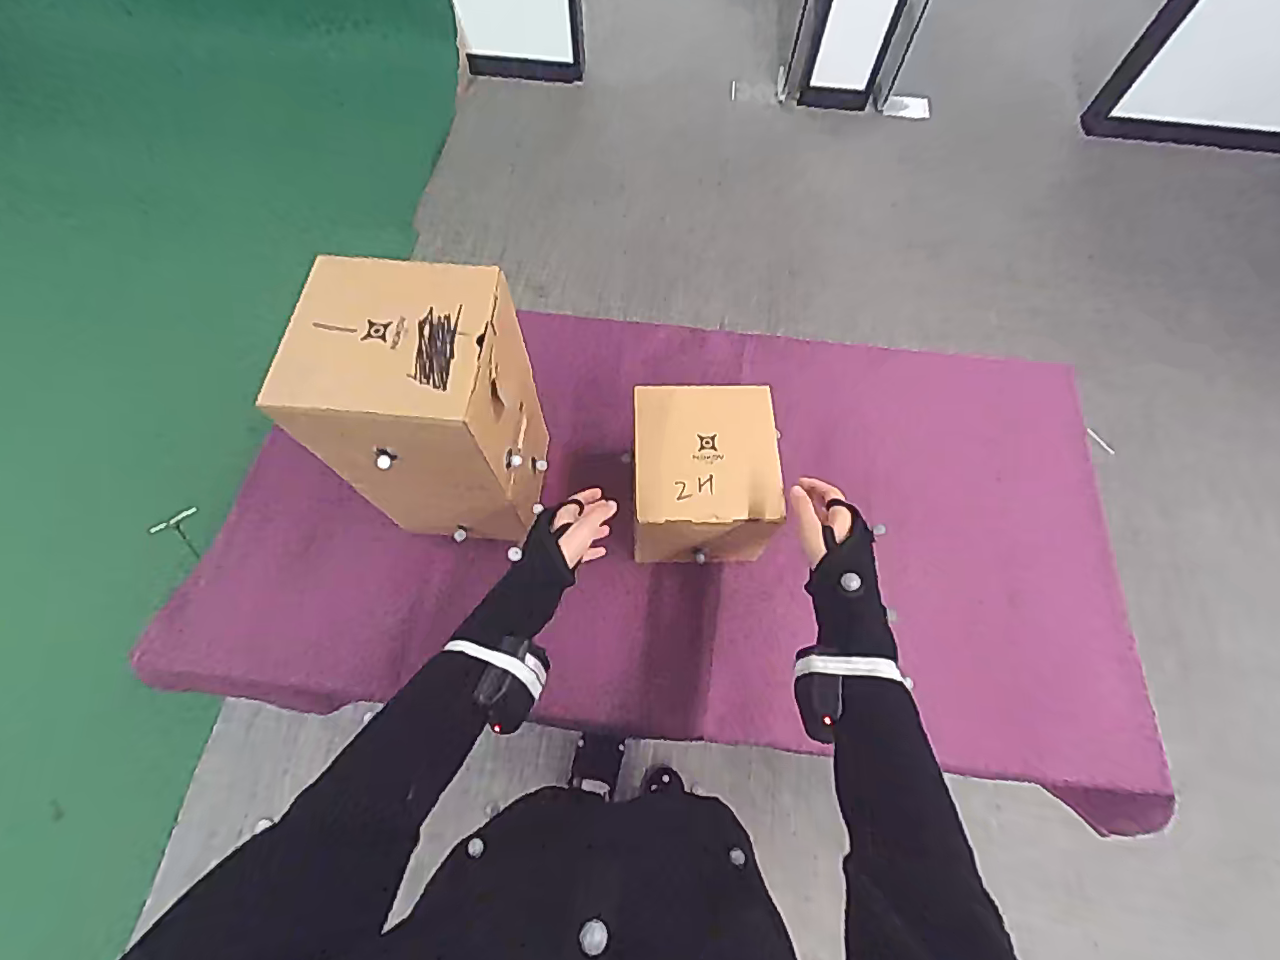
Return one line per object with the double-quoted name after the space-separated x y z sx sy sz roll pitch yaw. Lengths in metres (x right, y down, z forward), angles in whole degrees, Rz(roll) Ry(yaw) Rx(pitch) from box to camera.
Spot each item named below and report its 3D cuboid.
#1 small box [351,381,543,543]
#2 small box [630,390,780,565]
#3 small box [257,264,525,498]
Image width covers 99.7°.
-0.229 -0.023 0.698 0.179 0.176 0.168 5 66 0 "small box"
0.071 0.002 0.693 0.168 0.176 0.179 0 67 -1 "small box"
-0.224 -0.089 0.547 0.179 0.176 0.168 4 67 2 "small box"
